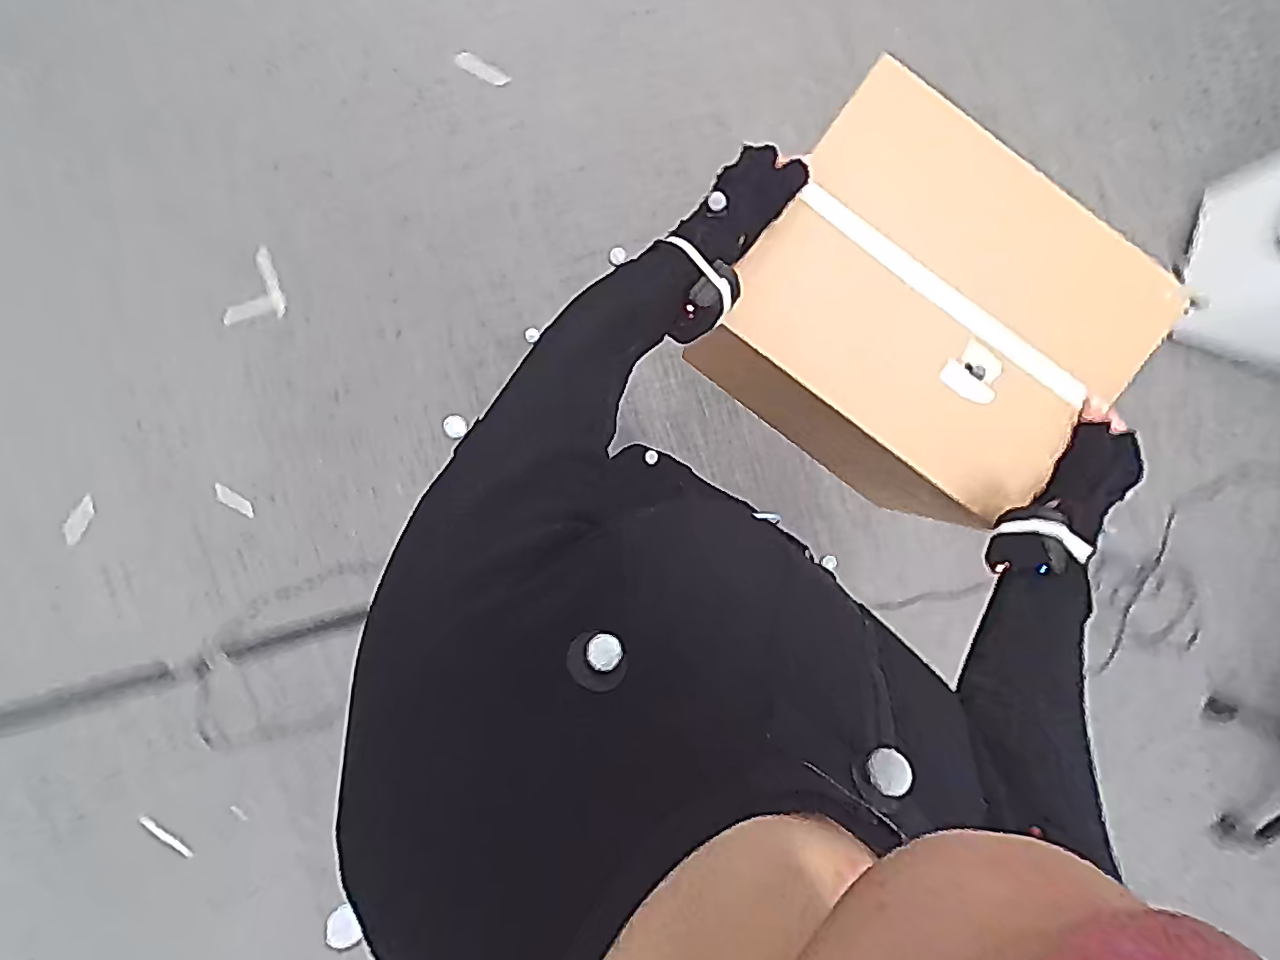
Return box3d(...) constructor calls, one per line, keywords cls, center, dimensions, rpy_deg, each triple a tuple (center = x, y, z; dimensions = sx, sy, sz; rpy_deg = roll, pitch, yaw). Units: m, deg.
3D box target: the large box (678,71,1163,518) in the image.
box3d(cls="large box", center=(0.305, -0.200, 0.719), dimensions=(0.408, 0.320, 0.320), rpy_deg=(35, 93, -2))
